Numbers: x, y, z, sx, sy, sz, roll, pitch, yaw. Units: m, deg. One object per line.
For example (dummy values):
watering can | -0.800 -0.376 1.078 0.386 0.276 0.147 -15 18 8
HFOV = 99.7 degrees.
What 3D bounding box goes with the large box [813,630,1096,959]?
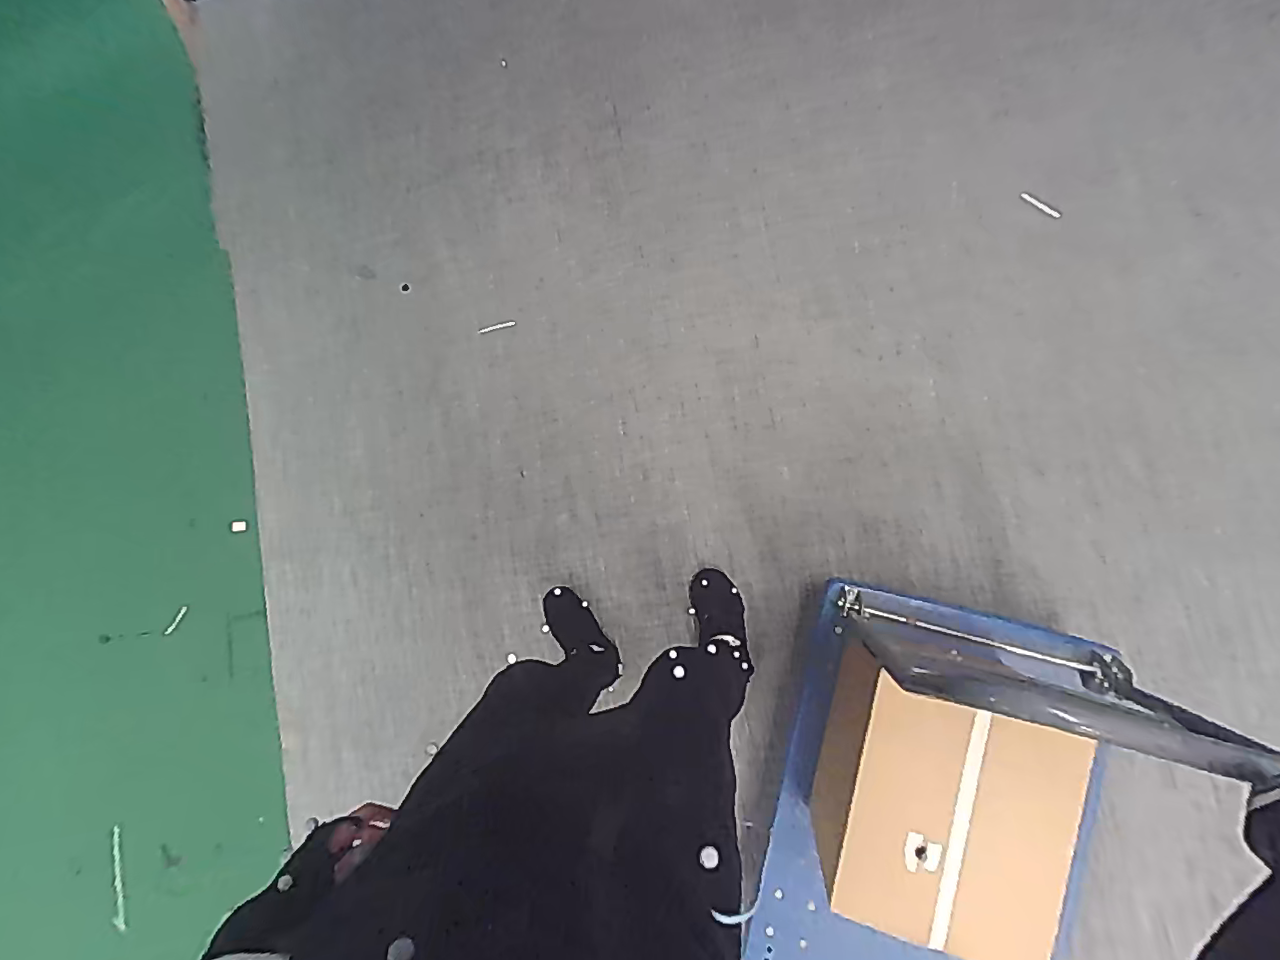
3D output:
large box | 0.524 0.530 0.977 0.320 0.320 0.408 13 89 12
